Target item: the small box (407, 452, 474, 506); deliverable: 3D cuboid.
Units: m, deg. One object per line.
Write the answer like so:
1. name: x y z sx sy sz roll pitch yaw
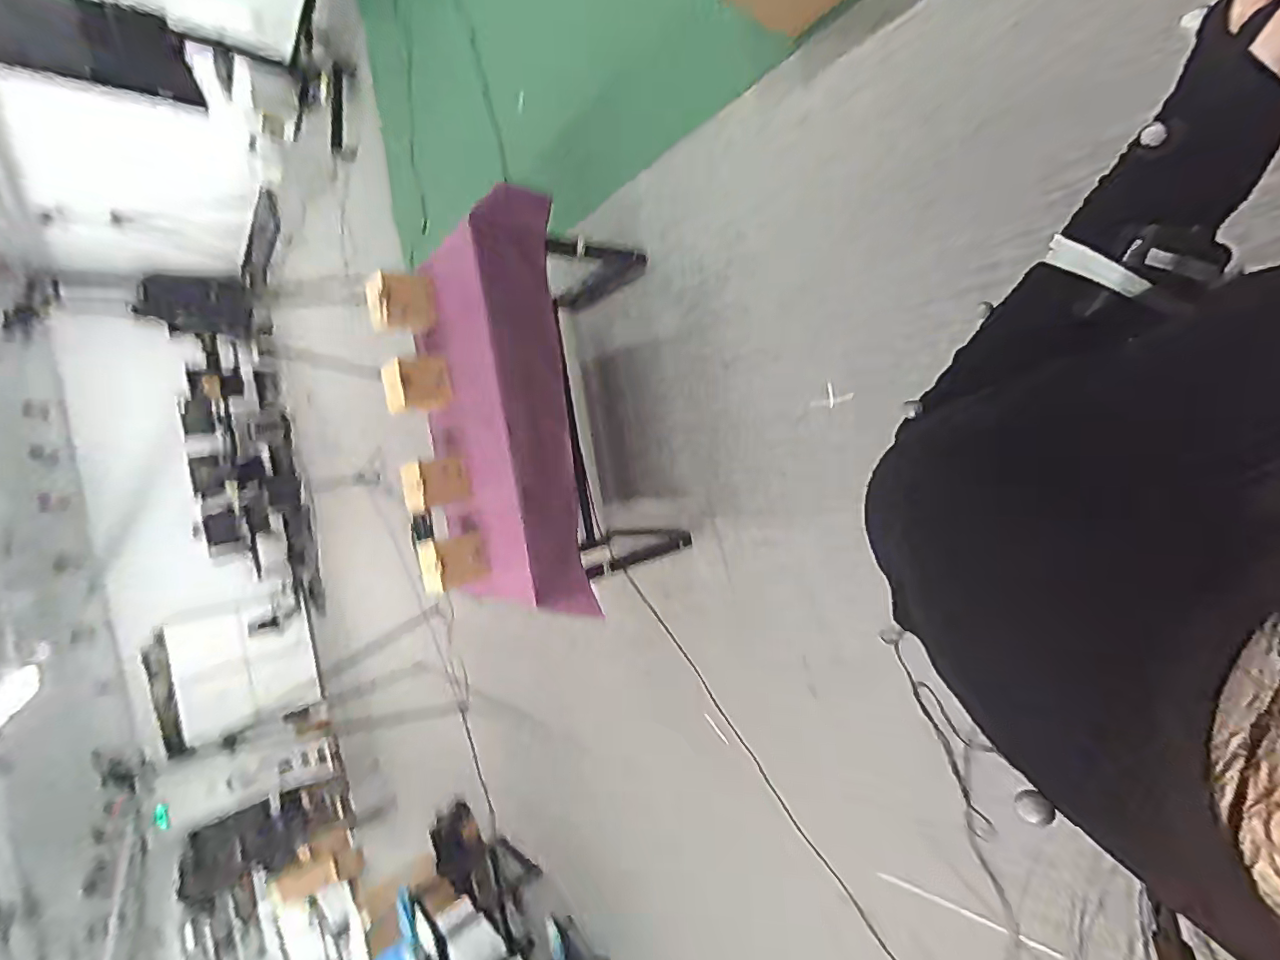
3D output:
1. small box: -0.700 -0.003 1.914 0.179 0.176 0.168 -6 93 49

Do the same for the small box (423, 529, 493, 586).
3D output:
1. small box: -0.638 0.271 1.902 0.179 0.176 0.168 -14 88 49

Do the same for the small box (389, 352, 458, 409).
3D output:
1. small box: -0.762 -0.347 1.906 0.179 0.176 0.168 -9 92 49
